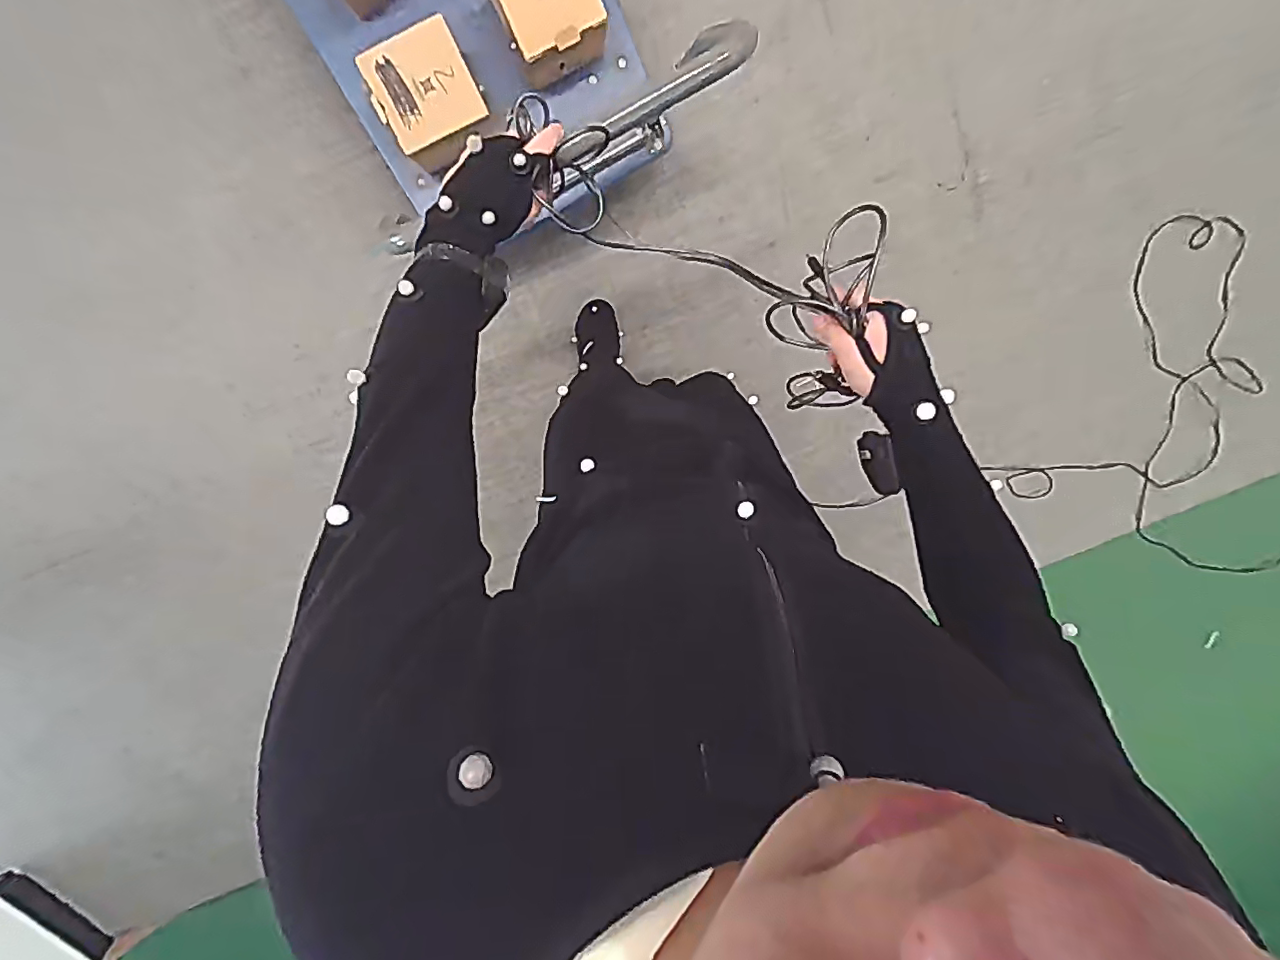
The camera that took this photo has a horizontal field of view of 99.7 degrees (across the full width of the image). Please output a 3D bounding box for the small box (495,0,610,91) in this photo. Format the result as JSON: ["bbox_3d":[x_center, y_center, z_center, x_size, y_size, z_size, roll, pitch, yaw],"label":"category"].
[{"bbox_3d":[-0.170,-0.882,1.016,0.168,0.176,0.179,-26,112,4],"label":"small box"}]

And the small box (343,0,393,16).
[{"bbox_3d":[-0.503,-0.966,0.945,0.168,0.176,0.179,-31,111,5],"label":"small box"}]
